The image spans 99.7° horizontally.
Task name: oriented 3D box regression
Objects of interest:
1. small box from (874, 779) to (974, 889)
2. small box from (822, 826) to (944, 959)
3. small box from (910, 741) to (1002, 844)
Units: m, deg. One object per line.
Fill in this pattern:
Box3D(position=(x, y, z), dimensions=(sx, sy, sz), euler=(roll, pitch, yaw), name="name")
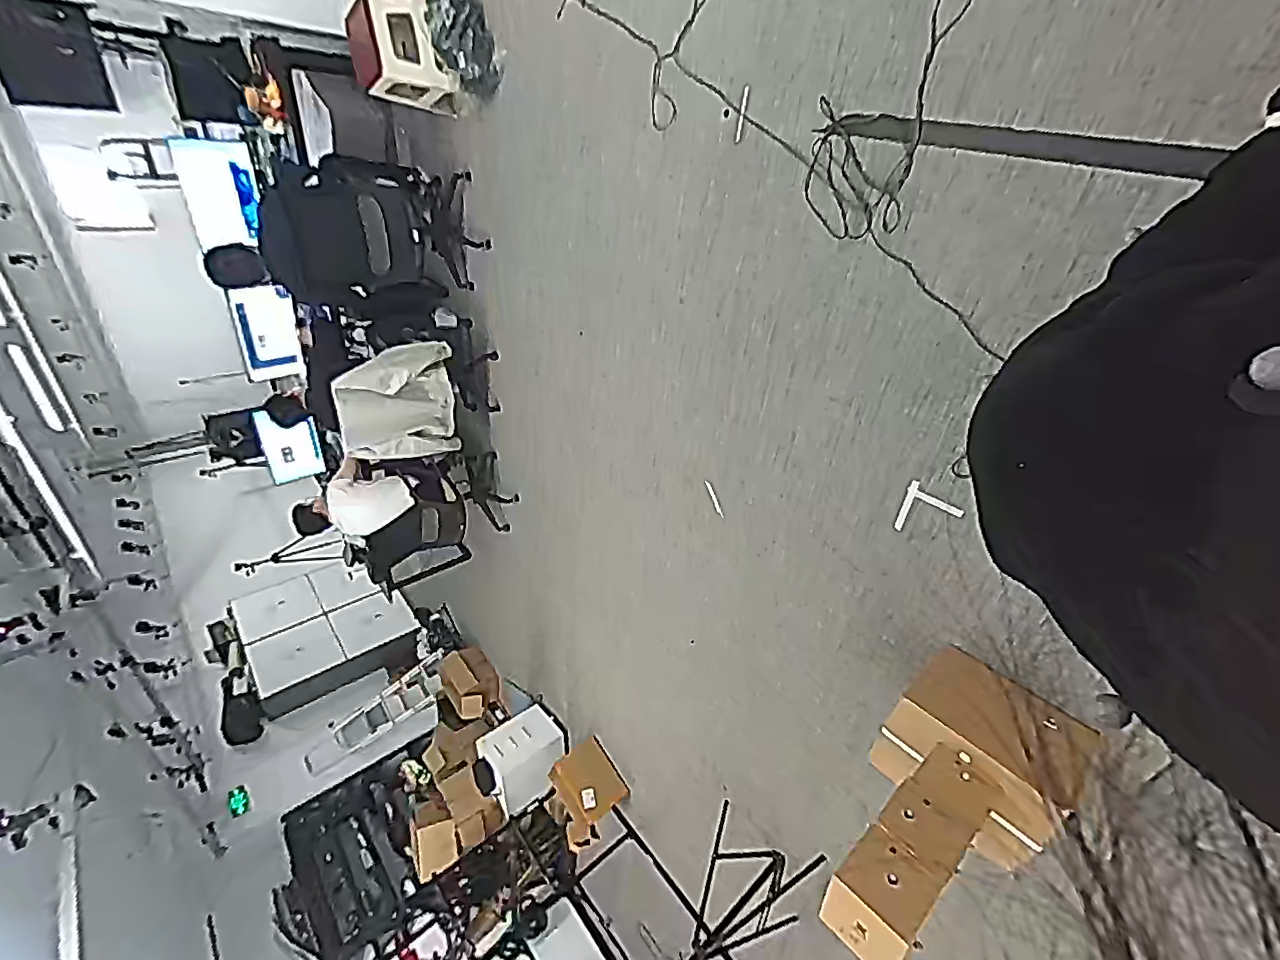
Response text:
Box3D(position=(0.646, 0.848, 1.263), dimensions=(0.168, 0.176, 0.179), euler=(33, 132, 40), name="small box")
Box3D(position=(0.525, 0.901, 1.165), dimensions=(0.168, 0.176, 0.179), euler=(29, 128, 43), name="small box")
Box3D(position=(0.771, 0.807, 1.359), dimensions=(0.168, 0.176, 0.179), euler=(33, 130, 38), name="small box")
